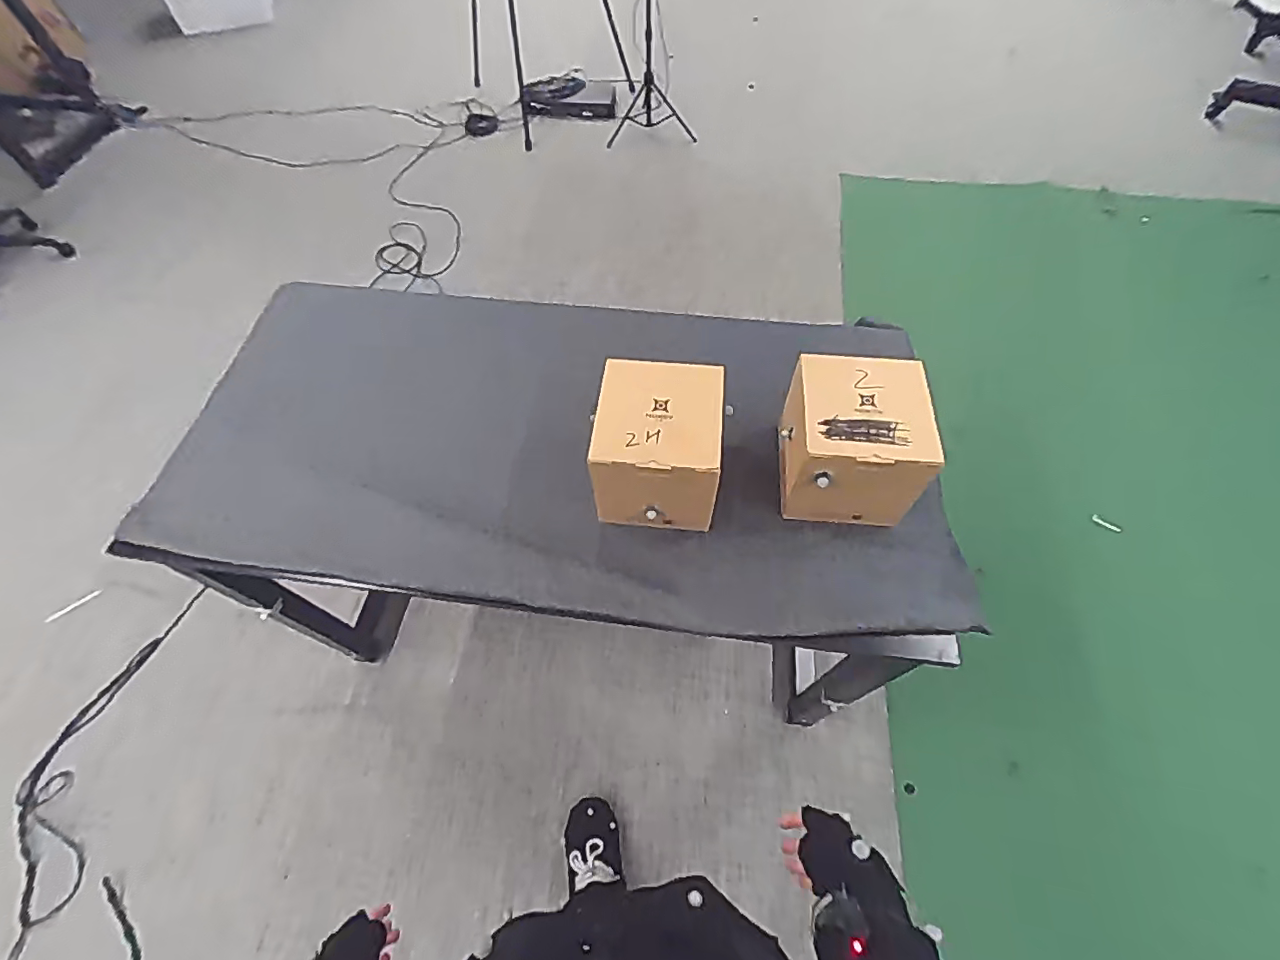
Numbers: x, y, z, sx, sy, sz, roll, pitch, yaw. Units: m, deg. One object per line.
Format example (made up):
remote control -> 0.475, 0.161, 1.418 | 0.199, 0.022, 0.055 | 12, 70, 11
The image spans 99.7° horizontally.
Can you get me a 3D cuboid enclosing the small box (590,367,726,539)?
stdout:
small box -> 0.029, -0.036, 0.774 | 0.168, 0.176, 0.179 | 5, 58, 5
